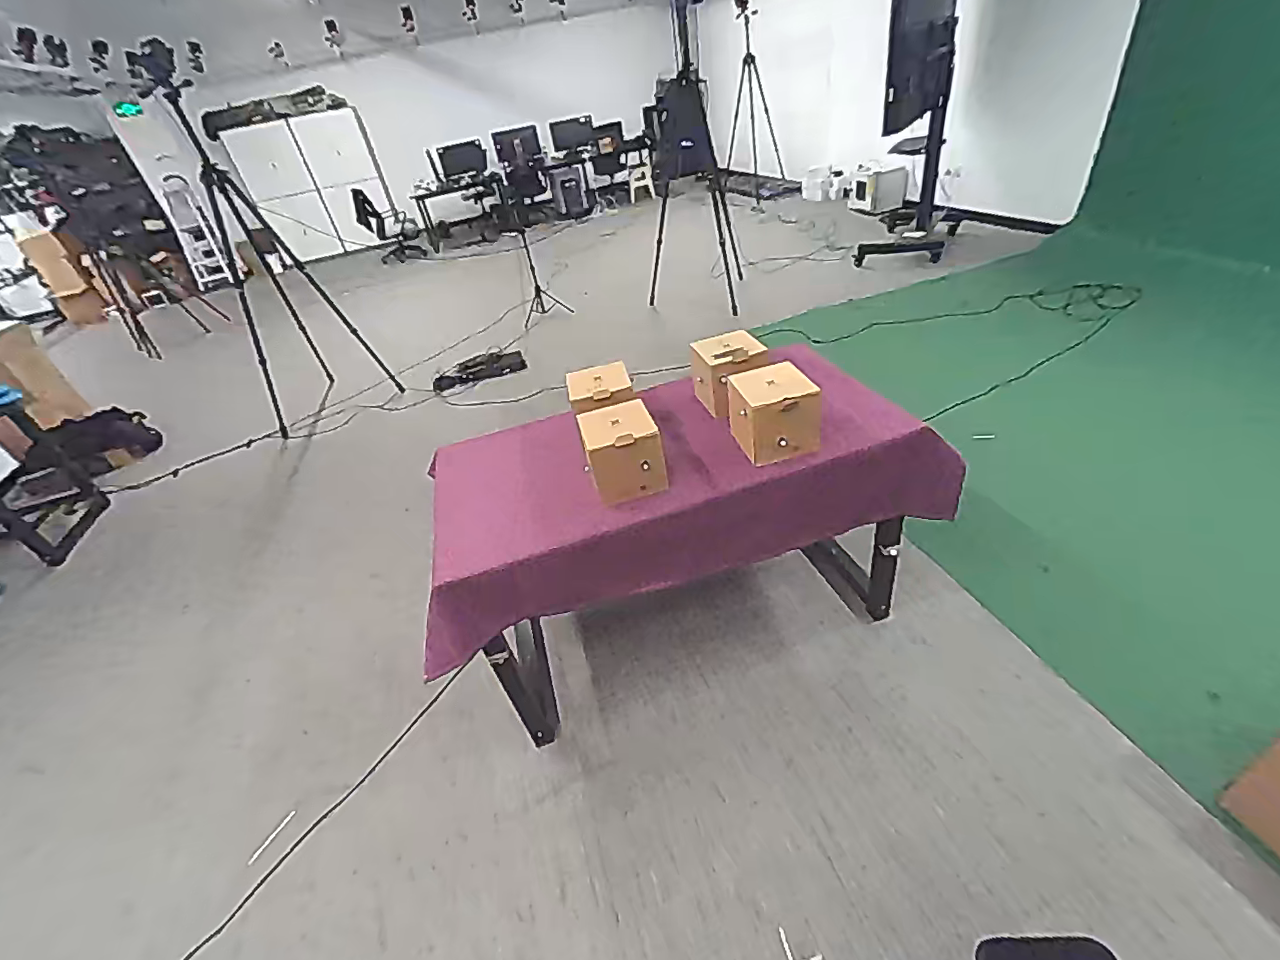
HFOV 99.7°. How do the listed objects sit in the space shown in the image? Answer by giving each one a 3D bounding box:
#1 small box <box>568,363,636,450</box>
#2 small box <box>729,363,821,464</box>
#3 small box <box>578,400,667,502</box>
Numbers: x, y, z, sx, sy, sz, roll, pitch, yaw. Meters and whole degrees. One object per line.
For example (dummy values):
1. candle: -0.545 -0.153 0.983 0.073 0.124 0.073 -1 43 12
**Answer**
1. small box: -0.097 -0.200 1.494 0.168 0.176 0.179 -14 36 -2
2. small box: 0.325 -0.163 1.323 0.168 0.176 0.179 -15 36 -4
3. small box: -0.041 -0.064 1.296 0.168 0.176 0.179 -15 35 -6
